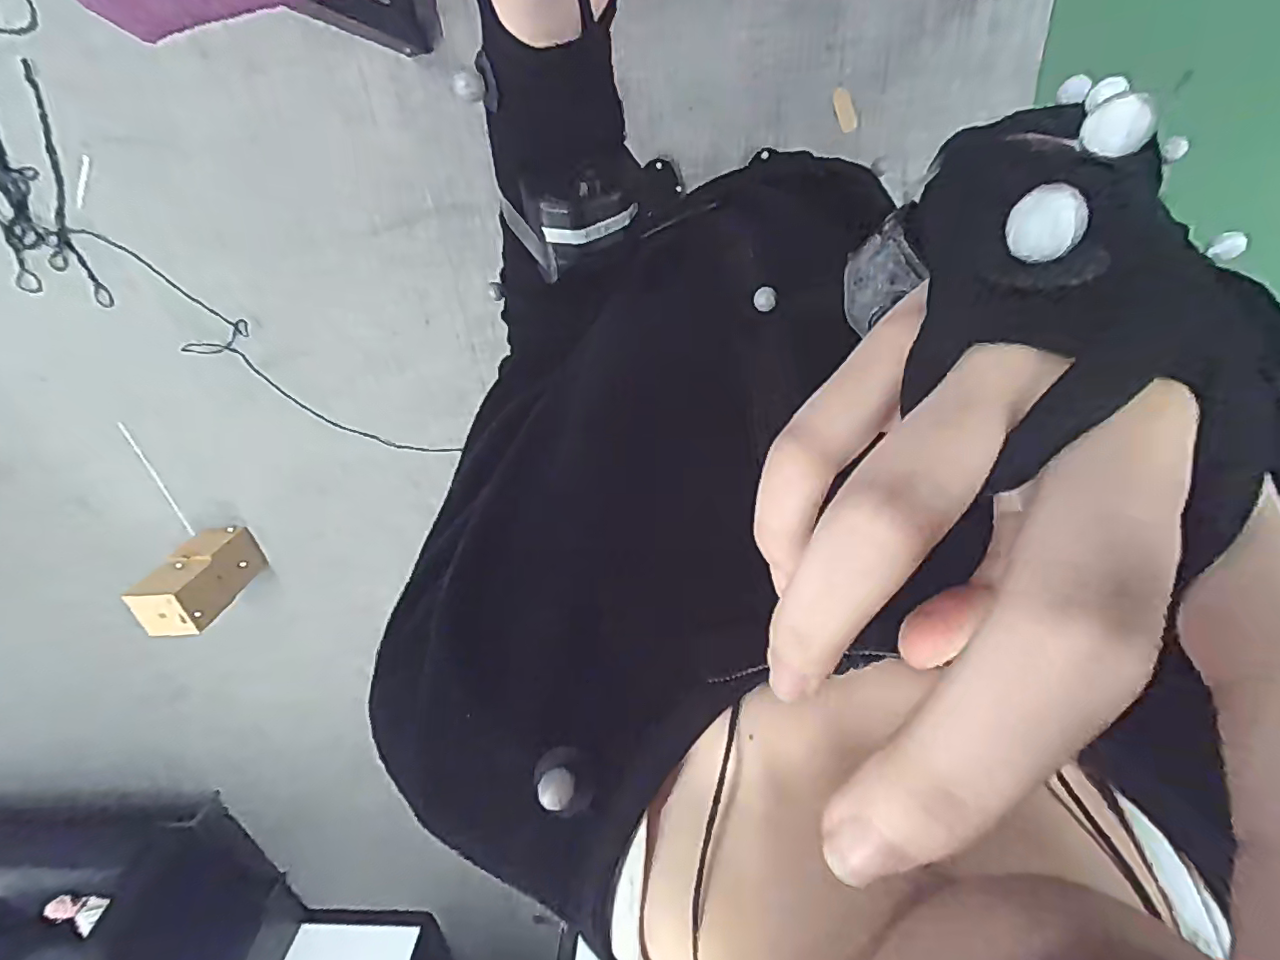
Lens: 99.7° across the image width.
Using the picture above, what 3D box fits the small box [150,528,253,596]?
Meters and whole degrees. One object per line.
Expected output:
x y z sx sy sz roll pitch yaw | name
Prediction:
-1.454 0.271 1.805 0.168 0.176 0.179 -3 121 6 | small box

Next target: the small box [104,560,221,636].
-1.461 0.360 1.667 0.179 0.176 0.168 -2 121 6 | small box
